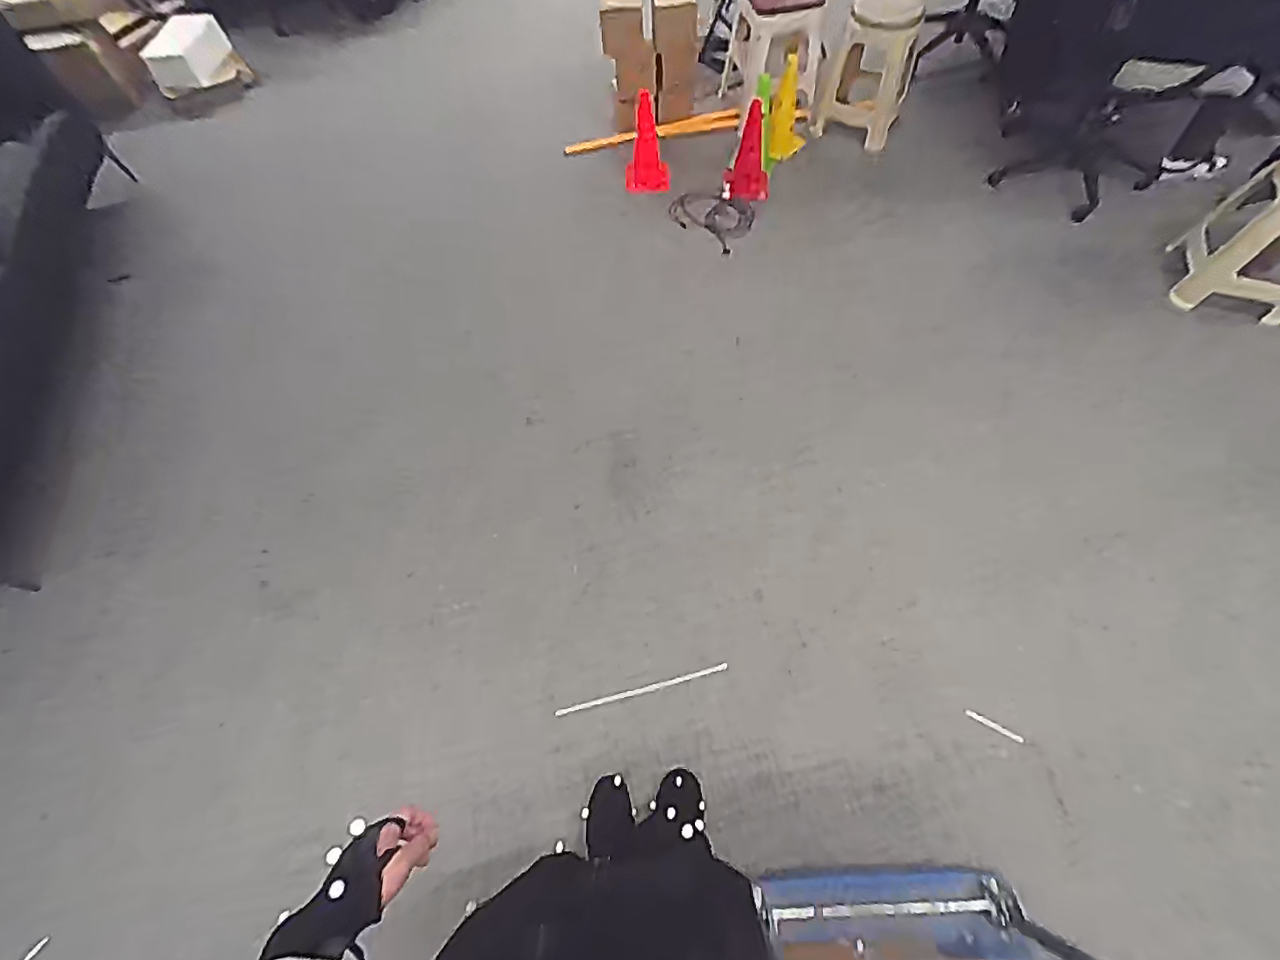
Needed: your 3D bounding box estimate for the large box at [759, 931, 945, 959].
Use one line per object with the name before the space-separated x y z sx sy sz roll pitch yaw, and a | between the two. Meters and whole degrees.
large box | 0.396 1.019 0.852 0.320 0.320 0.408 -5 63 1
